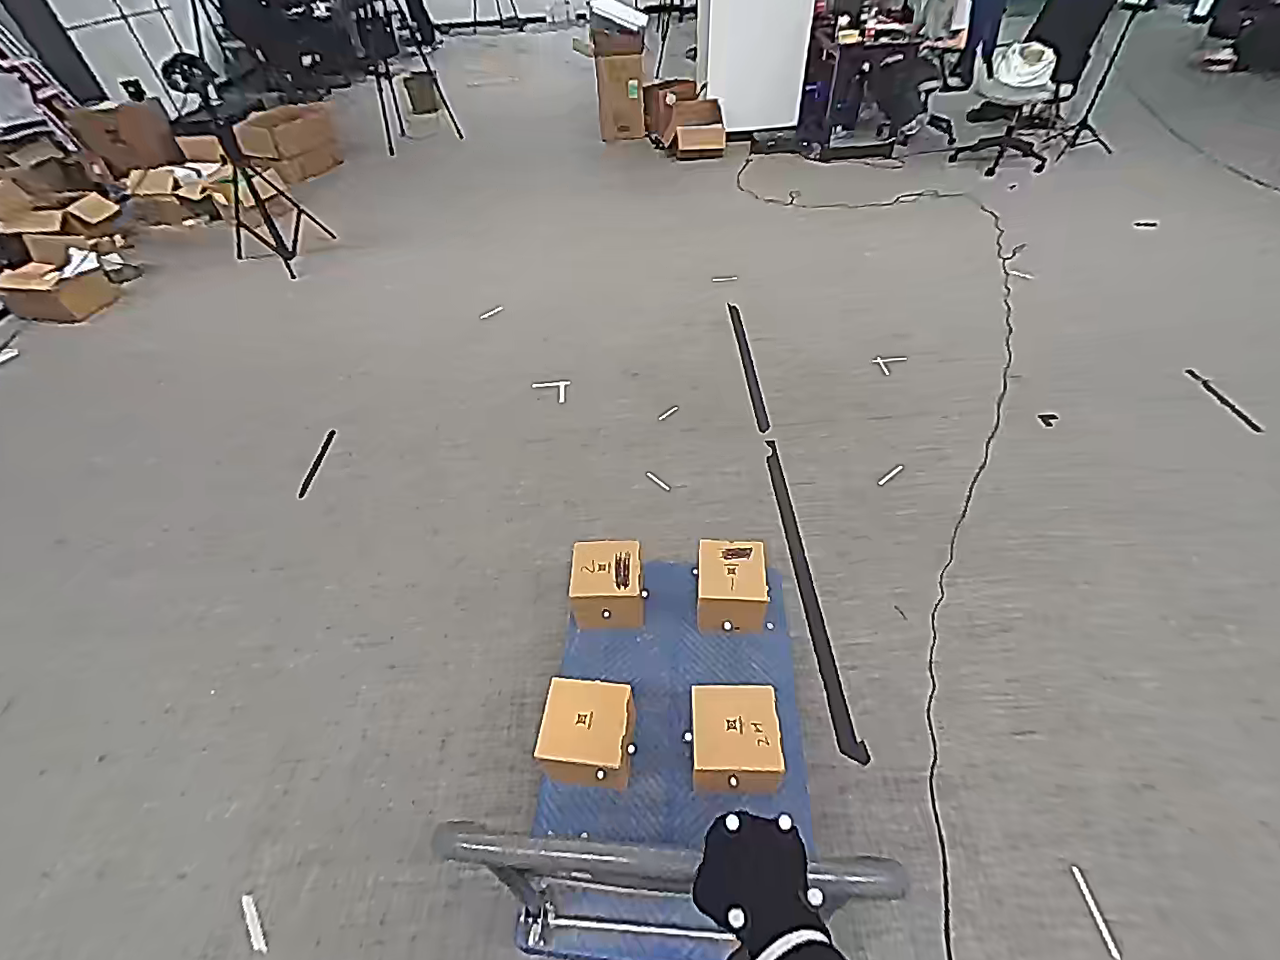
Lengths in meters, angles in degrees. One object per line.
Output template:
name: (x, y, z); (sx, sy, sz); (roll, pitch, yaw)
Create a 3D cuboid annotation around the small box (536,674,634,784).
small box: (-0.111, 0.544, 1.177); (0.179, 0.176, 0.168); (4, 47, 6)

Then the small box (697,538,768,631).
small box: (0.235, 0.271, 1.407); (0.168, 0.176, 0.179); (2, 48, 6)

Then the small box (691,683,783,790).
small box: (0.198, 0.547, 1.151); (0.179, 0.176, 0.168); (0, 47, 4)
